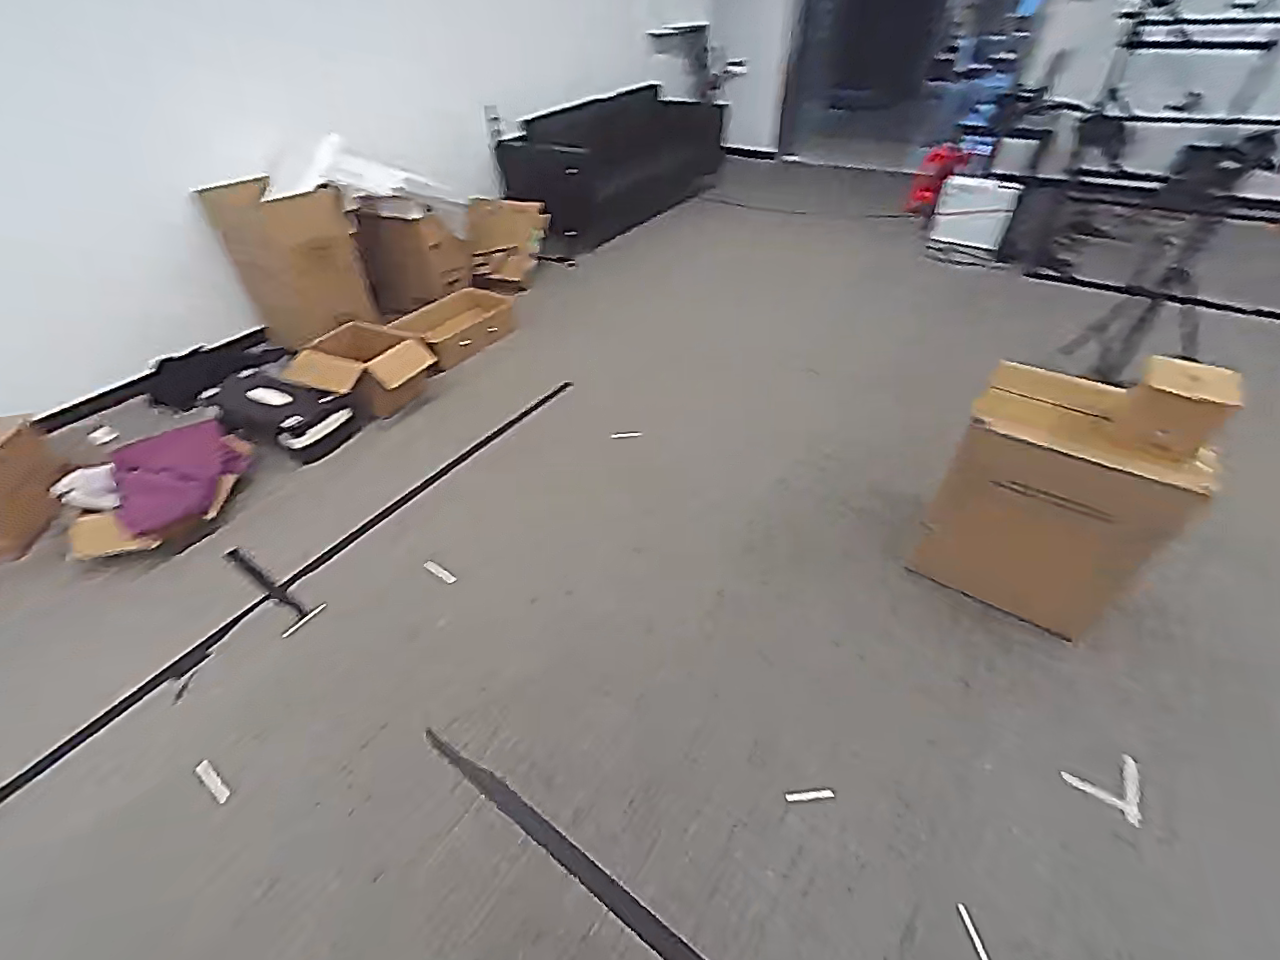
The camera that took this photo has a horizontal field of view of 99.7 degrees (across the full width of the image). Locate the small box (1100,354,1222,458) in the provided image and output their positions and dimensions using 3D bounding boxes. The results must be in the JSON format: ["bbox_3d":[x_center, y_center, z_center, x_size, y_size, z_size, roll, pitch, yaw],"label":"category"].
[{"bbox_3d":[1.290,-0.186,1.349,0.168,0.176,0.179,23,49,28],"label":"small box"}]
